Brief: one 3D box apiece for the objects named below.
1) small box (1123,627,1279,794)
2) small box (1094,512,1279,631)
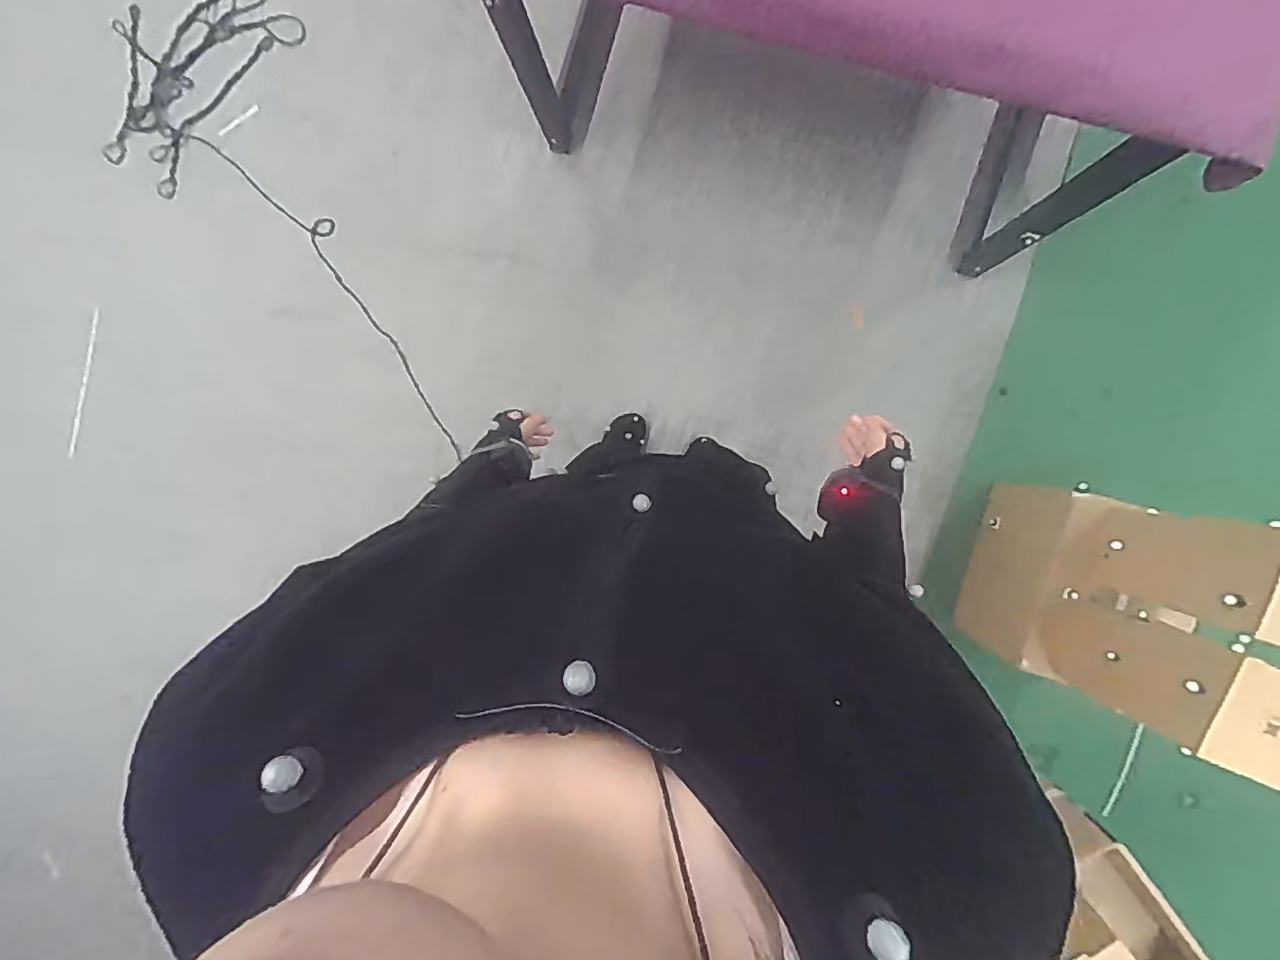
[{"bbox_3d":[0.957,0.370,0.885,0.168,0.176,0.179,22,93,5],"label":"small box"},{"bbox_3d":[1.033,0.164,1.030,0.179,0.176,0.168,13,94,5],"label":"small box"}]
